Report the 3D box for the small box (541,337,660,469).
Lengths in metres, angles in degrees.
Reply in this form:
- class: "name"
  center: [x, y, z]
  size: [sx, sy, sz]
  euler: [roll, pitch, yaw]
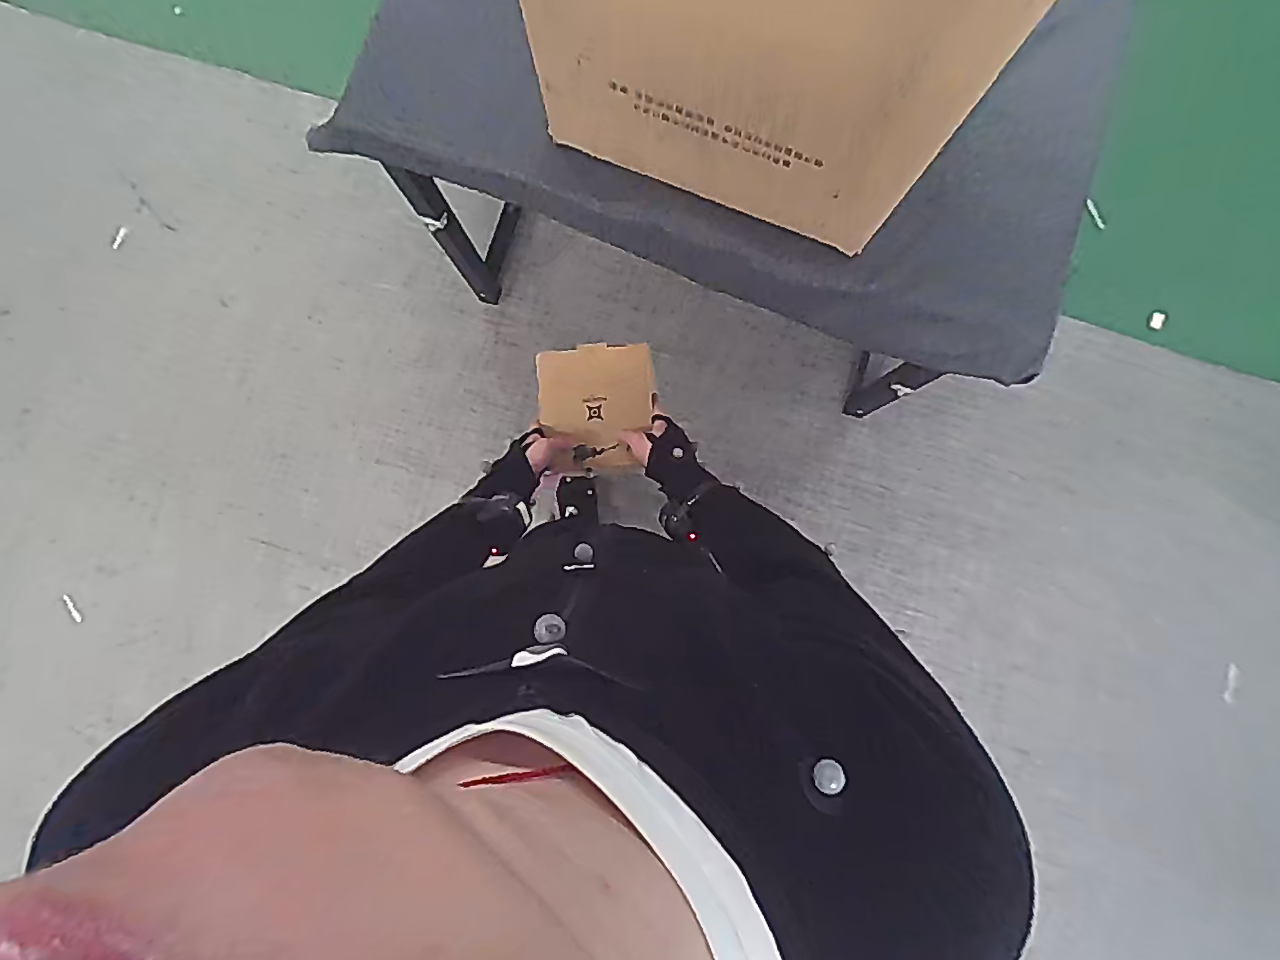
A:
- class: "small box"
  center: [-0.055, -0.111, 0.849]
  size: [0.168, 0.176, 0.179]
  euler: [-3, 88, 4]
